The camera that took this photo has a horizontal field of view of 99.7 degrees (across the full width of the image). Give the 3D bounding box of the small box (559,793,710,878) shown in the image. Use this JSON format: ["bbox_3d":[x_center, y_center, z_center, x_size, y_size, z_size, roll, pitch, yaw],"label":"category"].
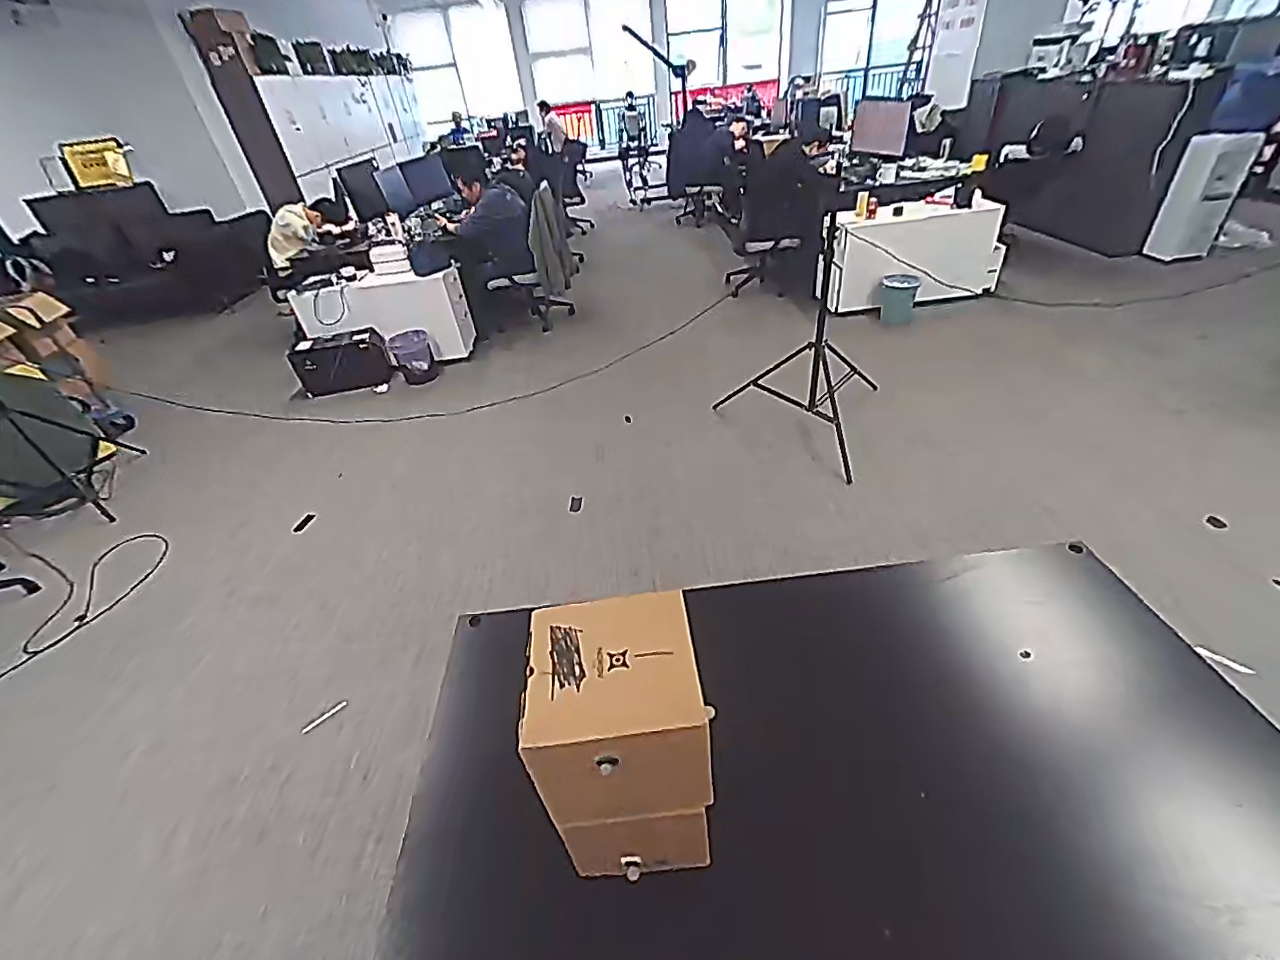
[{"bbox_3d":[-0.004,0.381,0.704,0.168,0.176,0.179,-8,37,1],"label":"small box"}]

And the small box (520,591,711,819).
[{"bbox_3d":[-0.022,0.251,0.605,0.179,0.176,0.168,-8,36,0],"label":"small box"}]
